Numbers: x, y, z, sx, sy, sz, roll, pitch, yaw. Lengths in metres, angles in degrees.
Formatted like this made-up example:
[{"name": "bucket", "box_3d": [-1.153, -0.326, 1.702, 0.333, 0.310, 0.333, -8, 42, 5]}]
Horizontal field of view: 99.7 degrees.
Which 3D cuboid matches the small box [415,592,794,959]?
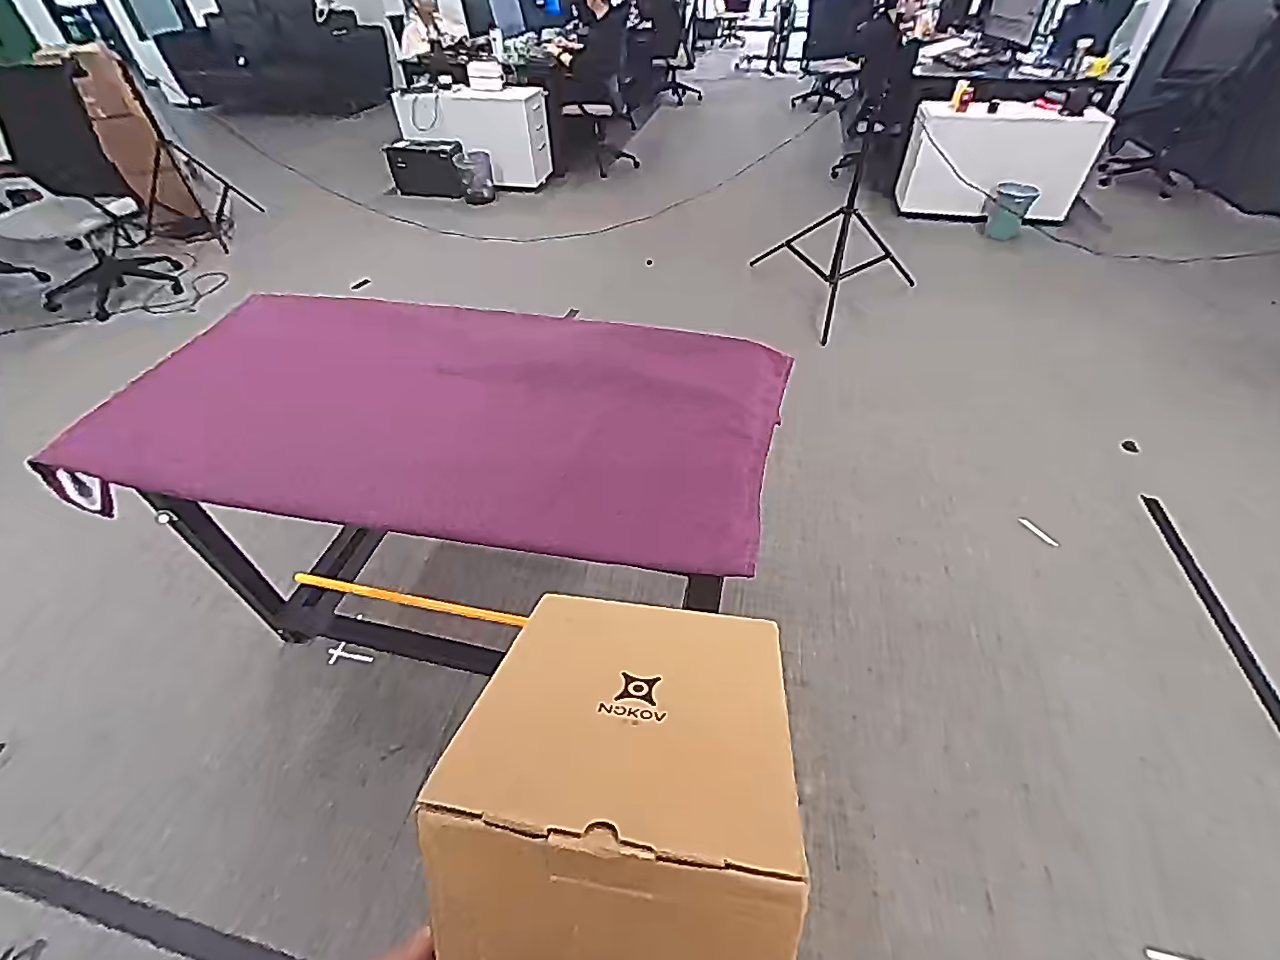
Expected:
[{"name": "small box", "box_3d": [-0.008, 0.192, 0.325, 0.168, 0.176, 0.179, 4, 21, 8]}]
